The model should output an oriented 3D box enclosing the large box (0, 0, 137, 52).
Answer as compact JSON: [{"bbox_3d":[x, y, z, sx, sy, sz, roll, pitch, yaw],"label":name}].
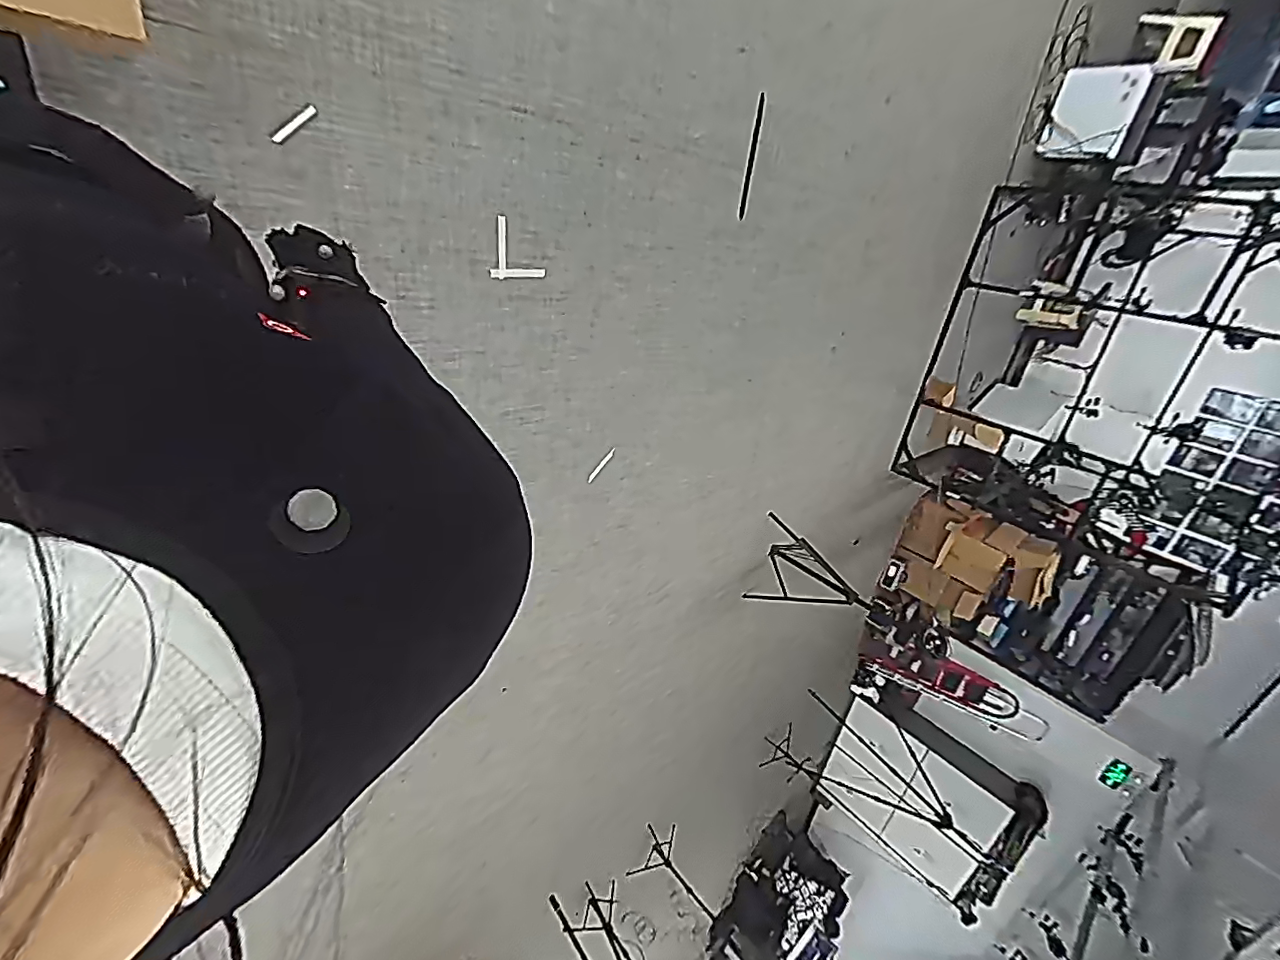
[{"bbox_3d":[-0.900,-0.754,0.625,0.408,0.320,0.320,-15,126,-42],"label":"large box"}]
